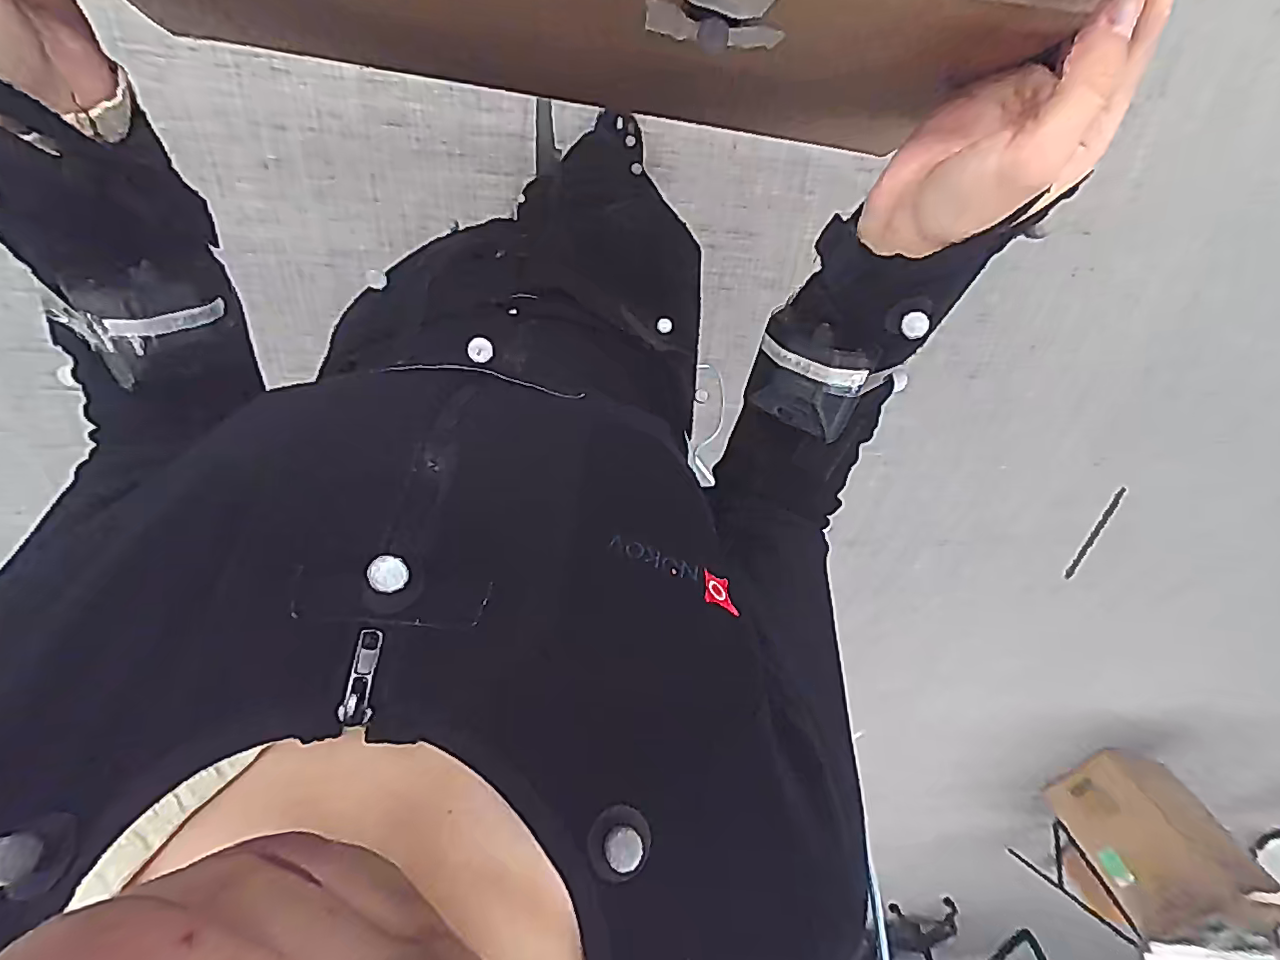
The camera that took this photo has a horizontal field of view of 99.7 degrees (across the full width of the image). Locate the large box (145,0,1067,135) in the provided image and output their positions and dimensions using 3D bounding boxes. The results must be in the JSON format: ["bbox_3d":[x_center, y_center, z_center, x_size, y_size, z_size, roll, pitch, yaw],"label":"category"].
[{"bbox_3d":[-0.019,-0.343,0.136,0.408,0.320,0.320,4,103,-8],"label":"large box"}]
